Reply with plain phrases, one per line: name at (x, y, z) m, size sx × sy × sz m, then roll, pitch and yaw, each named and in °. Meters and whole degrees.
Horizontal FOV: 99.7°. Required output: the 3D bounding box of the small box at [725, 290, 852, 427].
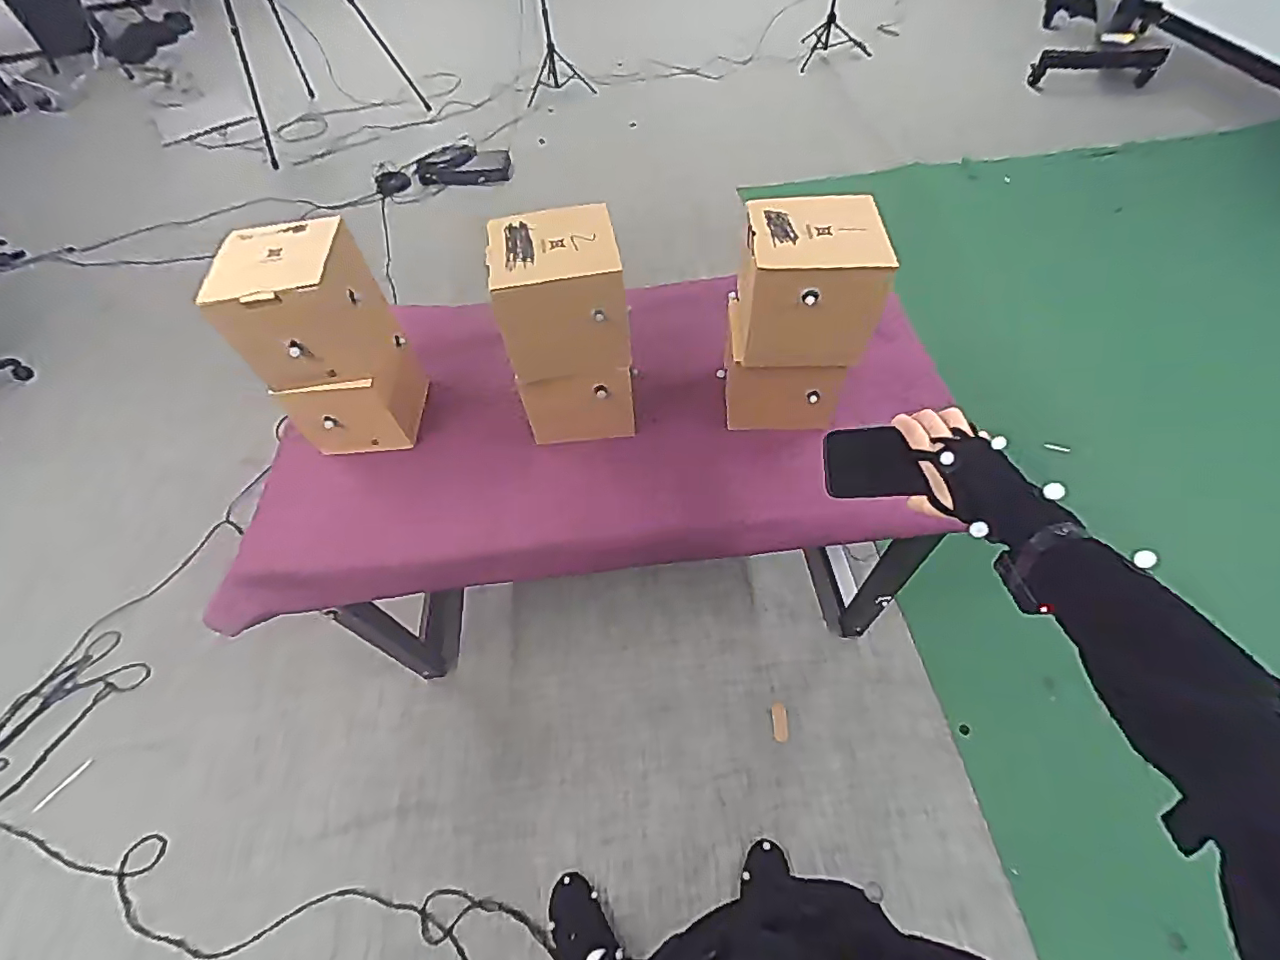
small box at (0.239, -0.202, 0.915) m, size 0.179 × 0.176 × 0.168 m, roll -1°, pitch 55°, yaw 6°

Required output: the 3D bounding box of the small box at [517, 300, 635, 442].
small box at (-0.101, -0.182, 0.931) m, size 0.179 × 0.176 × 0.168 m, roll -6°, pitch 55°, yaw 2°

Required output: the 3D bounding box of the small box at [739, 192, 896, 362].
small box at (0.236, -0.283, 0.772) m, size 0.179 × 0.176 × 0.168 m, roll 0°, pitch 55°, yaw 4°

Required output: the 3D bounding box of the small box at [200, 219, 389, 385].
small box at (-0.504, -0.261, 0.823) m, size 0.168 × 0.176 × 0.179 m, roll -9°, pitch 56°, yaw -2°

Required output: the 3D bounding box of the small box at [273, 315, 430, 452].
small box at (-0.491, -0.161, 0.953) m, size 0.168 × 0.176 × 0.179 m, roll -5°, pitch 55°, yaw 2°
